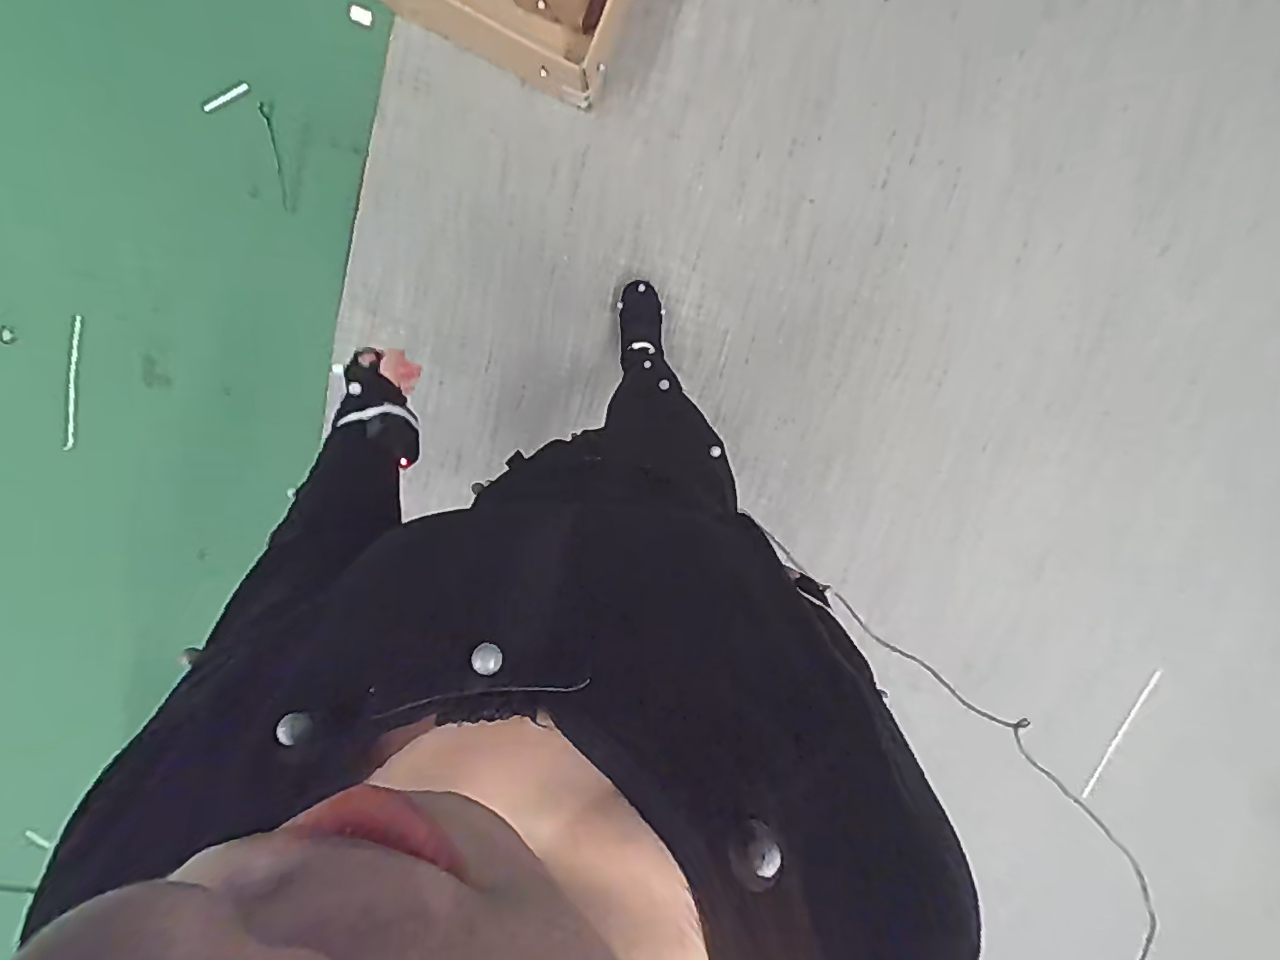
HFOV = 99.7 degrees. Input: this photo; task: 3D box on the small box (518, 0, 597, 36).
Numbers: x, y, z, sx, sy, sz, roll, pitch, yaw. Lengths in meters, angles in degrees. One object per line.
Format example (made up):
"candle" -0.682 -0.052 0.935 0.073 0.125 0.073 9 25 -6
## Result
"small box" -0.165 -1.055 1.087 0.168 0.176 0.179 22 104 -5
